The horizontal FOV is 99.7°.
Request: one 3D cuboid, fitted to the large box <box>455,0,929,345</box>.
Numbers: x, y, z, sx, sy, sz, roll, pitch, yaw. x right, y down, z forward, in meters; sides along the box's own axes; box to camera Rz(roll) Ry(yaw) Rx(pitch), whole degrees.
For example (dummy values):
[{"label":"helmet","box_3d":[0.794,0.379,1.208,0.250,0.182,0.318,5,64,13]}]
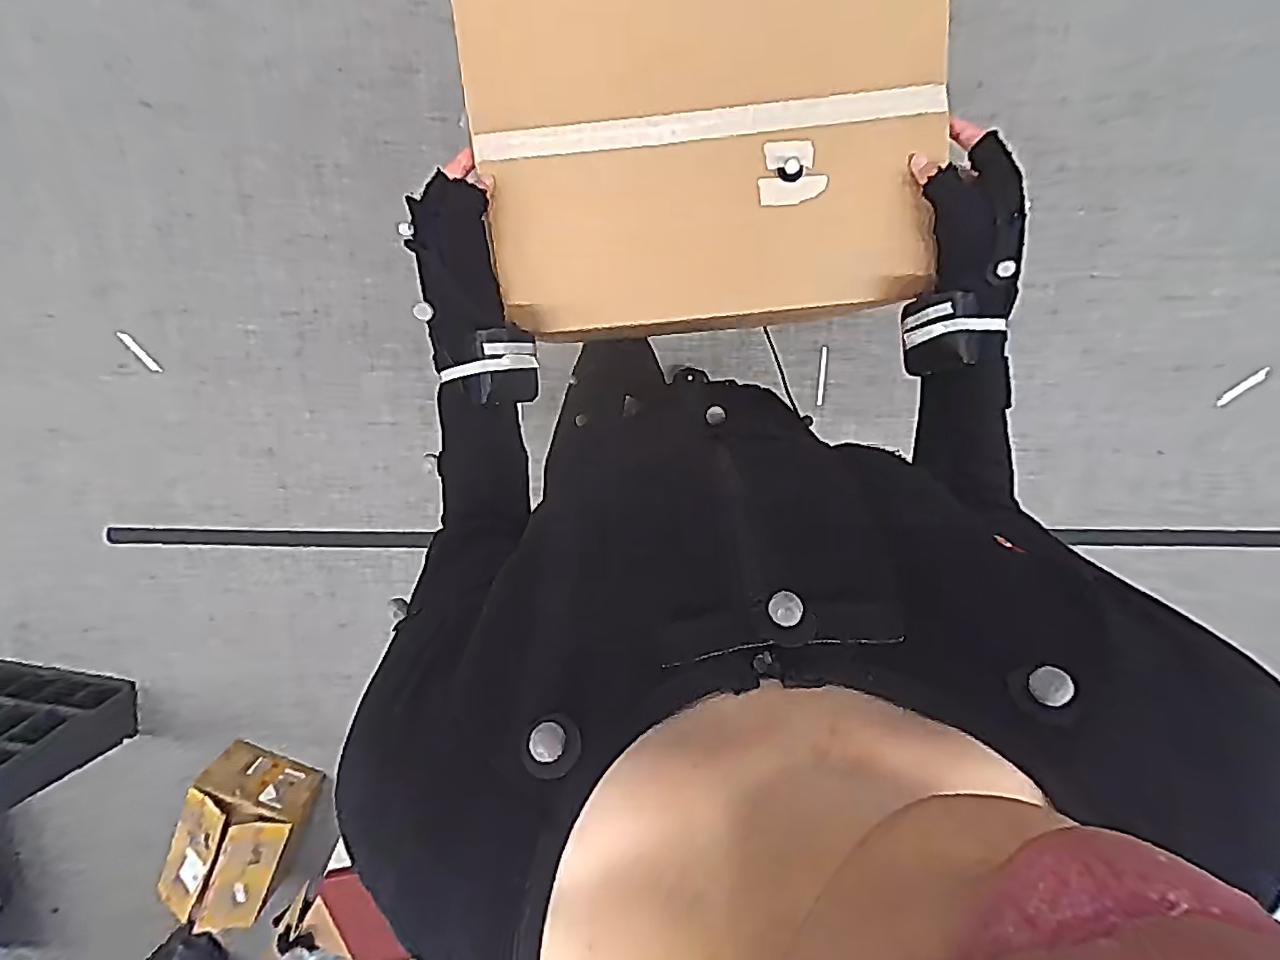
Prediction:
[{"label":"large box","box_3d":[0.051,-0.341,0.622,0.408,0.320,0.320,-6,102,1]}]
